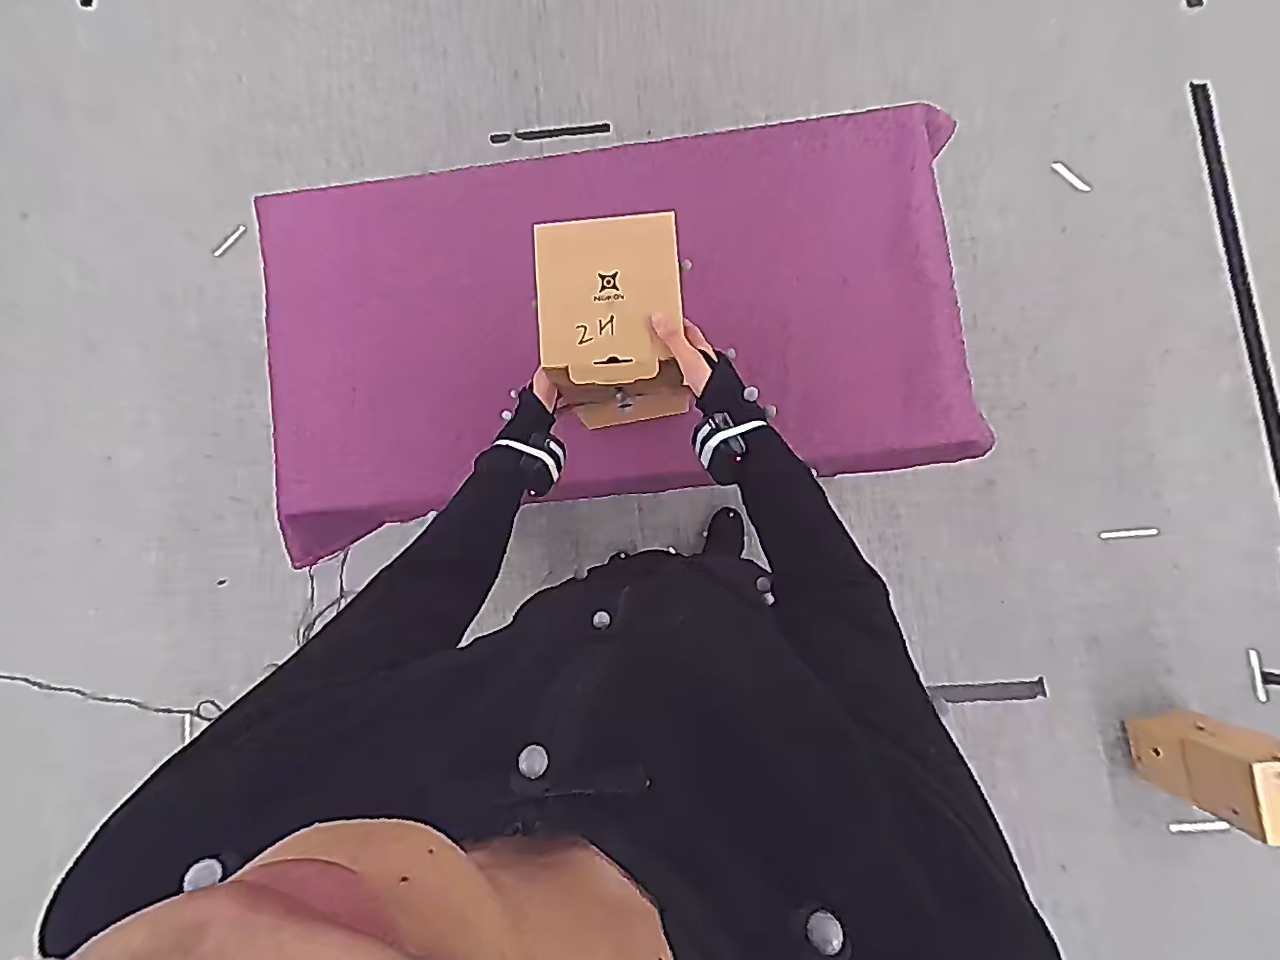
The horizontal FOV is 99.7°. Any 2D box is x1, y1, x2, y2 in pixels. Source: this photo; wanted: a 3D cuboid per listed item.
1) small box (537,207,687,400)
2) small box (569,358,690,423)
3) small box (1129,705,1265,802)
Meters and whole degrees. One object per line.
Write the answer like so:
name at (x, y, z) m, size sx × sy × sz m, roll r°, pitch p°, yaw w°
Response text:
small box at (-0.030, -0.212, 0.688) m, size 0.168 × 0.176 × 0.179 m, roll -4°, pitch 84°, yaw 3°
small box at (-0.019, -0.194, 0.852) m, size 0.179 × 0.176 × 0.168 m, roll -10°, pitch 84°, yaw 2°
small box at (1.432, 0.705, 1.408) m, size 0.179 × 0.176 × 0.168 m, roll -10°, pitch 85°, yaw 3°
